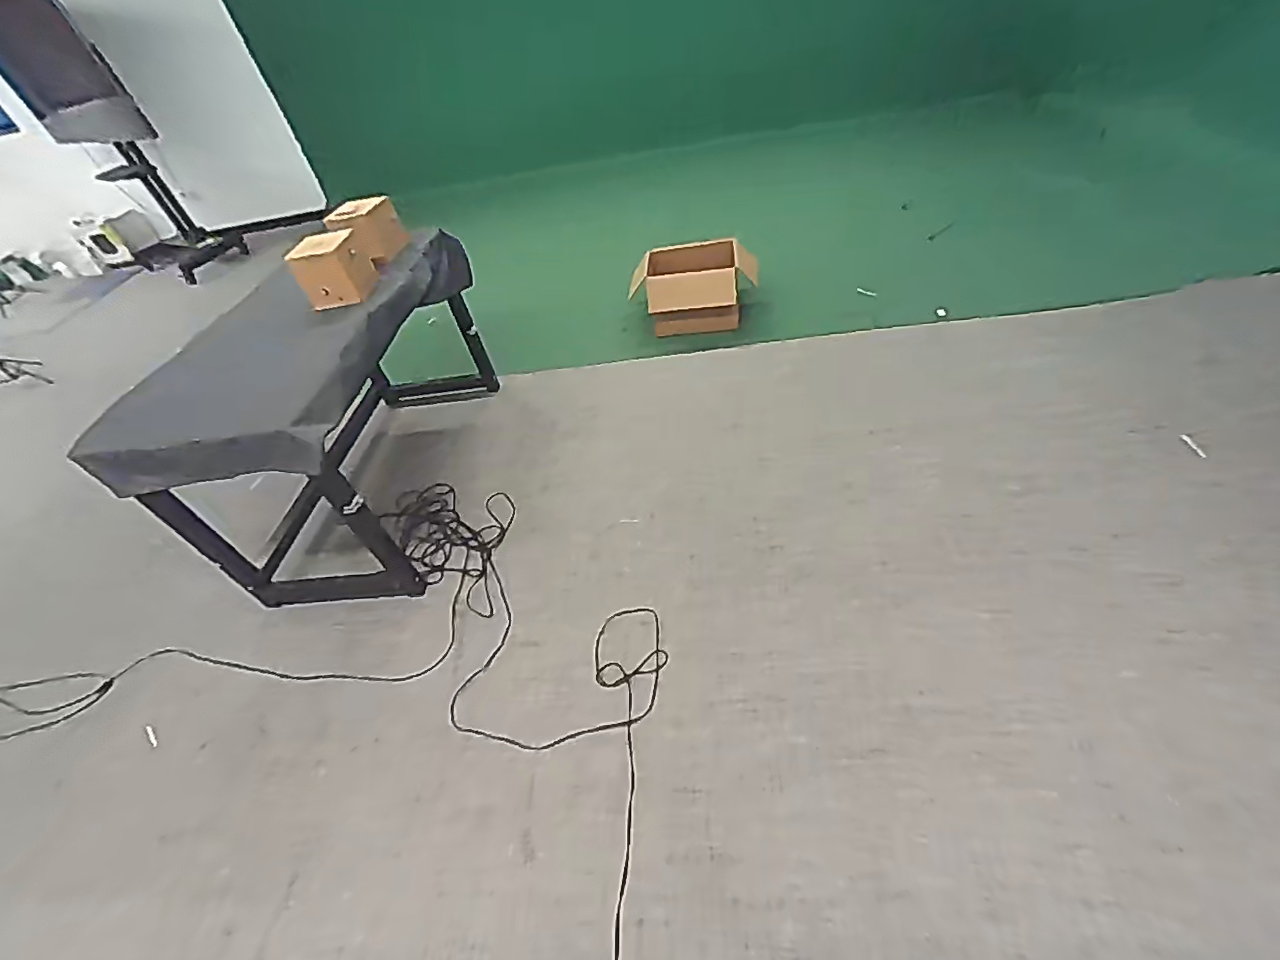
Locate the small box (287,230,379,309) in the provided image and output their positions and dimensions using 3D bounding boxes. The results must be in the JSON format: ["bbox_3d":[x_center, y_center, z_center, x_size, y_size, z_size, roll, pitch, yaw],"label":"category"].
[{"bbox_3d":[-0.958,-0.663,1.709,0.168,0.176,0.179,-7,45,6],"label":"small box"}]
